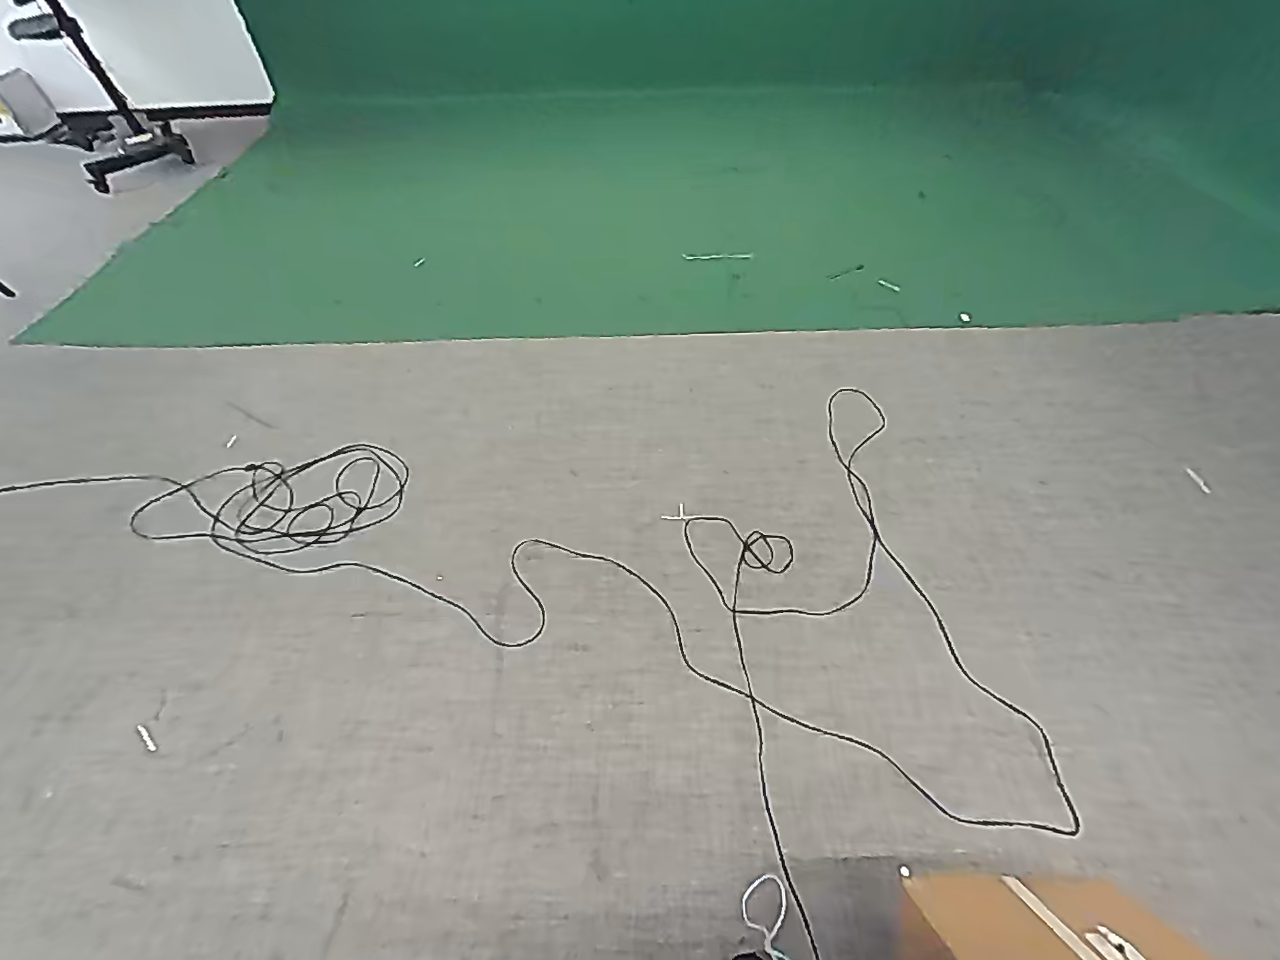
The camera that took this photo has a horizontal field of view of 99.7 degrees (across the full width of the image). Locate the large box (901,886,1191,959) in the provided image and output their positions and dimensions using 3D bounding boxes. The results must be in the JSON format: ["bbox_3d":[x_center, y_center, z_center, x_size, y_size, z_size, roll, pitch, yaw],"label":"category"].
[{"bbox_3d":[0.541,0.746,0.596,0.320,0.408,0.320,1,86,0],"label":"large box"}]
